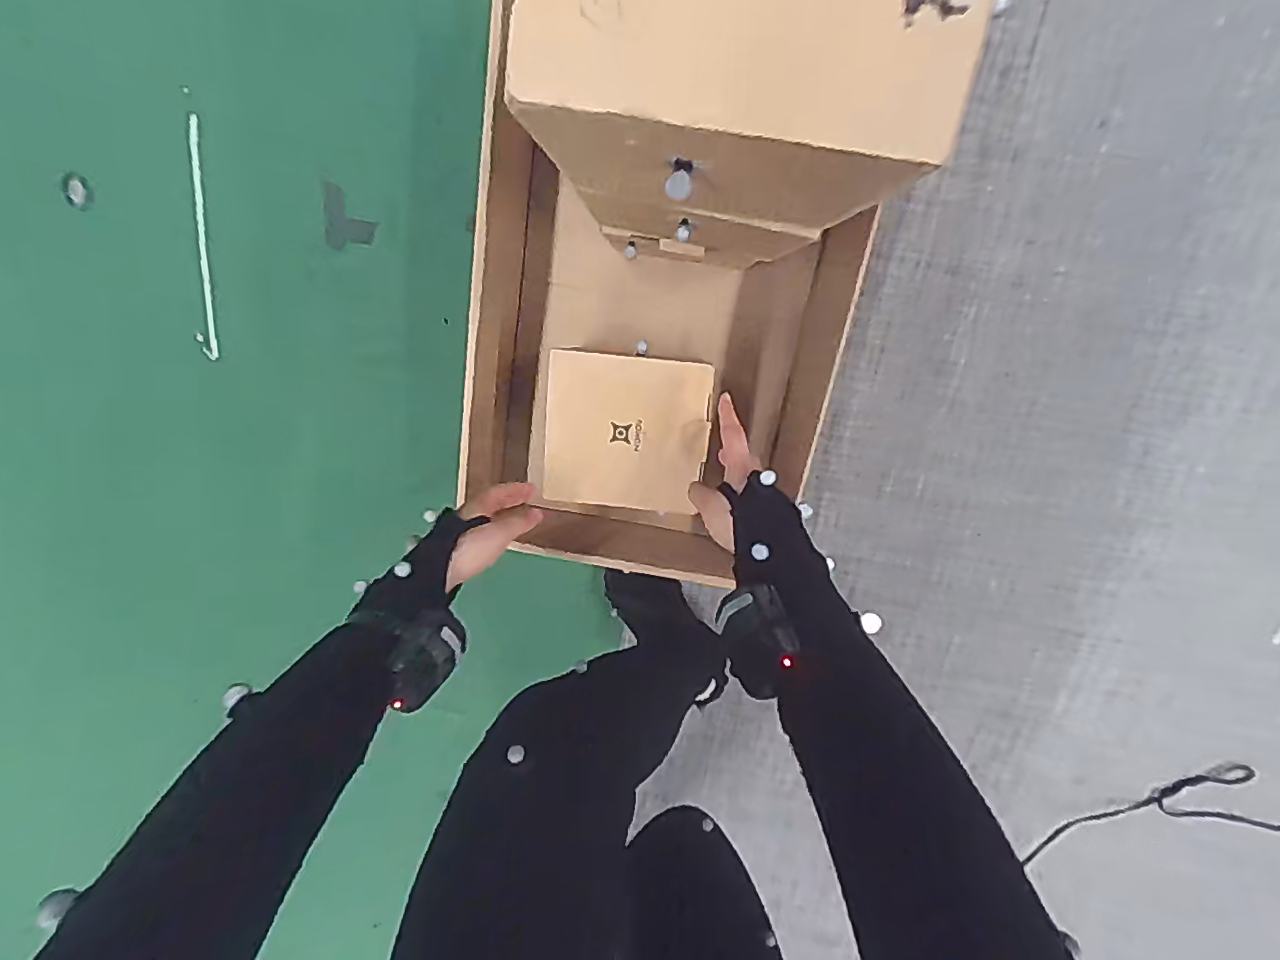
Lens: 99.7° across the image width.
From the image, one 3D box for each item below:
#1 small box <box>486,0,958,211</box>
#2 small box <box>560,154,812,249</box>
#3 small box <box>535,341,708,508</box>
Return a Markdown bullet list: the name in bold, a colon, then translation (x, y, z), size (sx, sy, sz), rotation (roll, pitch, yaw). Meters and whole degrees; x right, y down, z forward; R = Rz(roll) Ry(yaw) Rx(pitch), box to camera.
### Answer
- **small box**: translation (0.041, -0.244, 0.265), size (0.179, 0.176, 0.168), rotation (8, 107, 1)
- **small box**: translation (0.048, -0.289, 0.423), size (0.179, 0.176, 0.168), rotation (11, 107, -2)
- **small box**: translation (-0.020, -0.072, 0.653), size (0.179, 0.176, 0.168), rotation (5, 102, 0)
